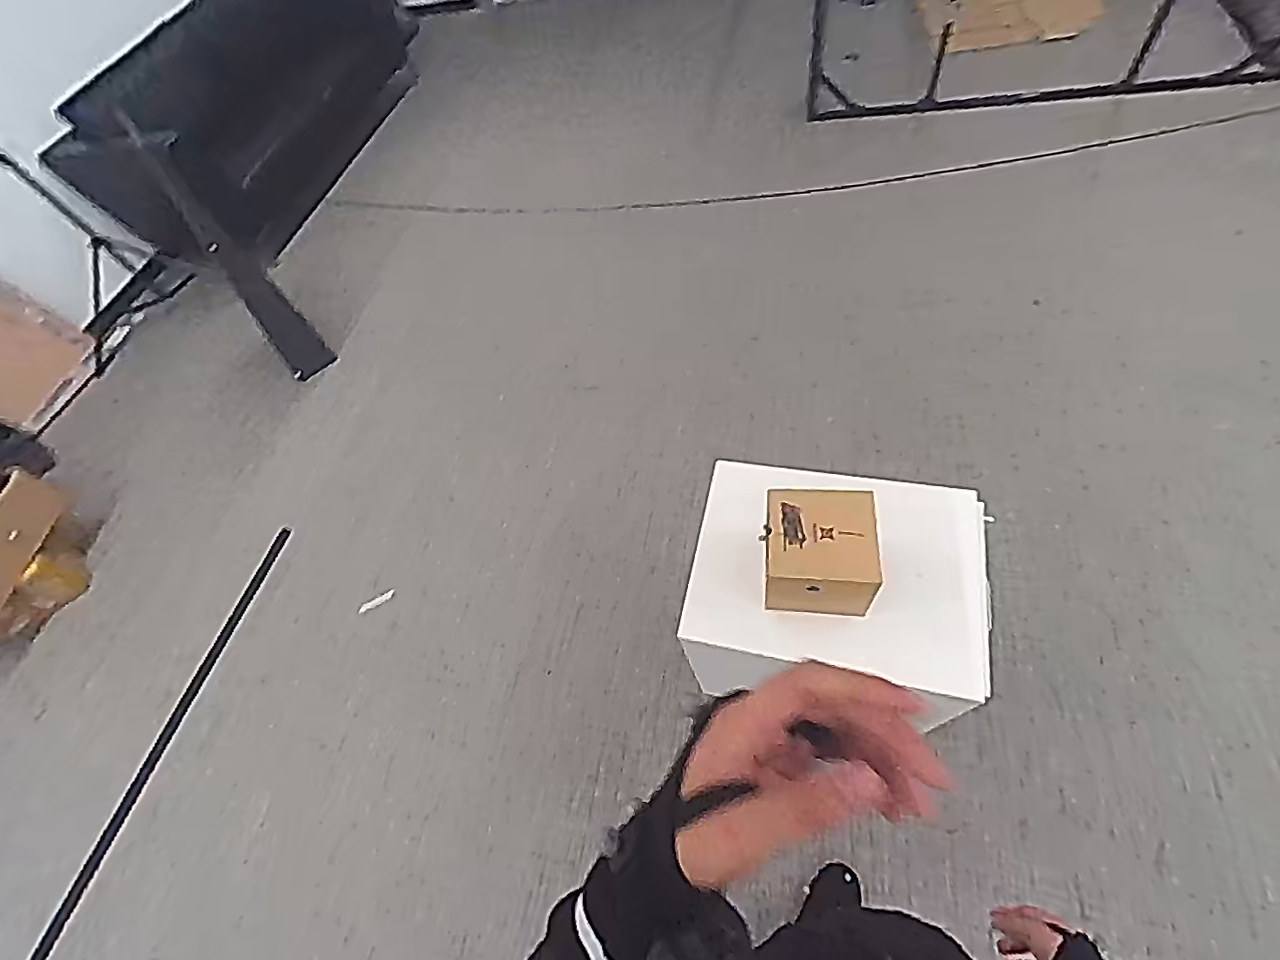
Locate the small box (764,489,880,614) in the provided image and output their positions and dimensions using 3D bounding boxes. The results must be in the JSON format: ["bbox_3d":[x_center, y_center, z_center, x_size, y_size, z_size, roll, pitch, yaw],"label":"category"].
[{"bbox_3d":[0.310,0.129,0.951,0.179,0.176,0.168,2,59,12],"label":"small box"}]
